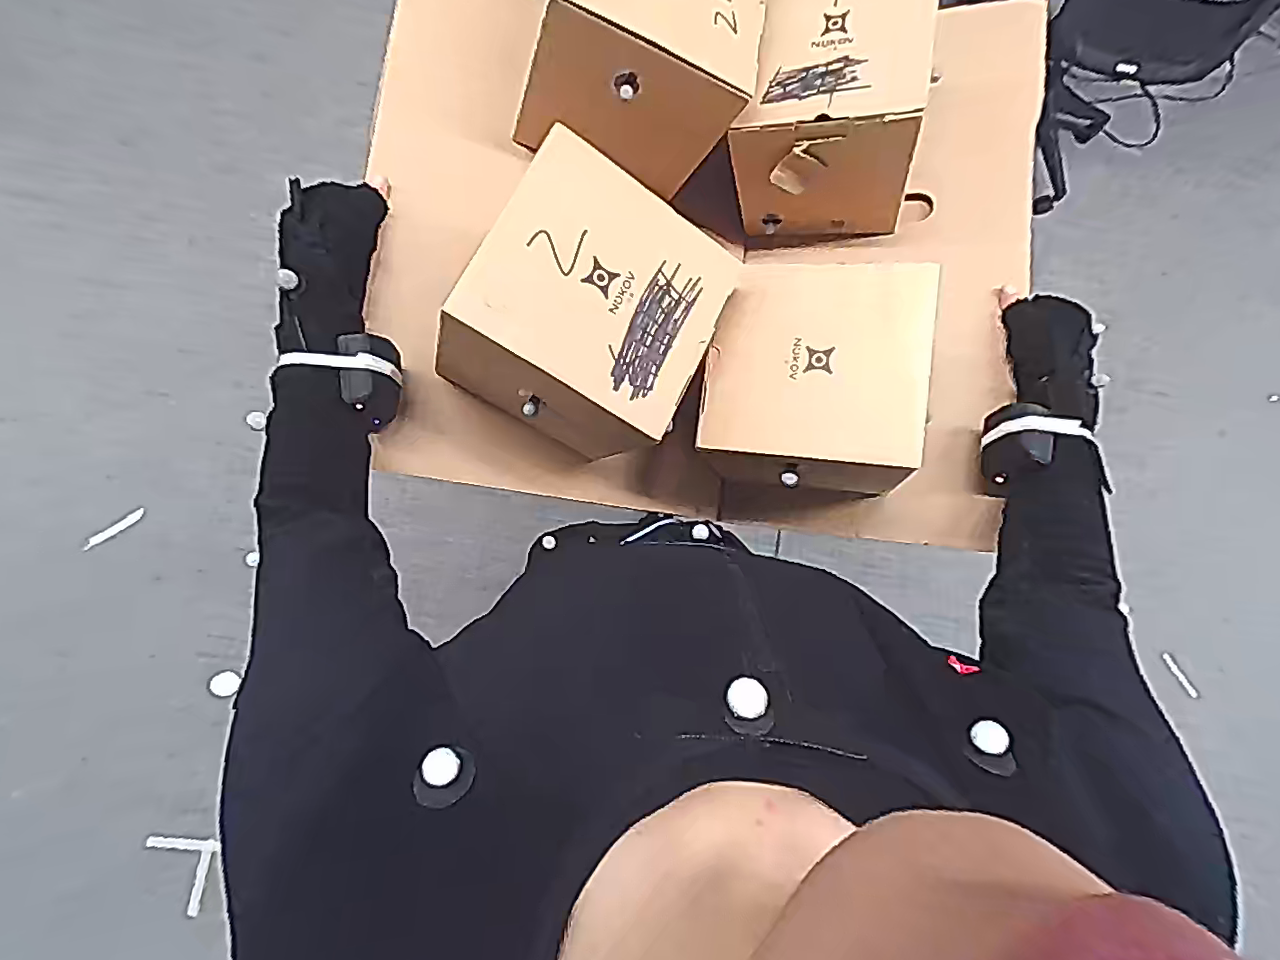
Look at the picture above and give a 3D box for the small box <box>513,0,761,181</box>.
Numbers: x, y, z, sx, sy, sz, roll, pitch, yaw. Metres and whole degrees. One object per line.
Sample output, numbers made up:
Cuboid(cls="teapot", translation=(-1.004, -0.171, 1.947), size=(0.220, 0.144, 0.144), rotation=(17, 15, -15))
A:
Cuboid(cls="small box", translation=(-0.008, -0.414, 0.494), size=(0.179, 0.176, 0.168), rotation=(11, 84, -22))
